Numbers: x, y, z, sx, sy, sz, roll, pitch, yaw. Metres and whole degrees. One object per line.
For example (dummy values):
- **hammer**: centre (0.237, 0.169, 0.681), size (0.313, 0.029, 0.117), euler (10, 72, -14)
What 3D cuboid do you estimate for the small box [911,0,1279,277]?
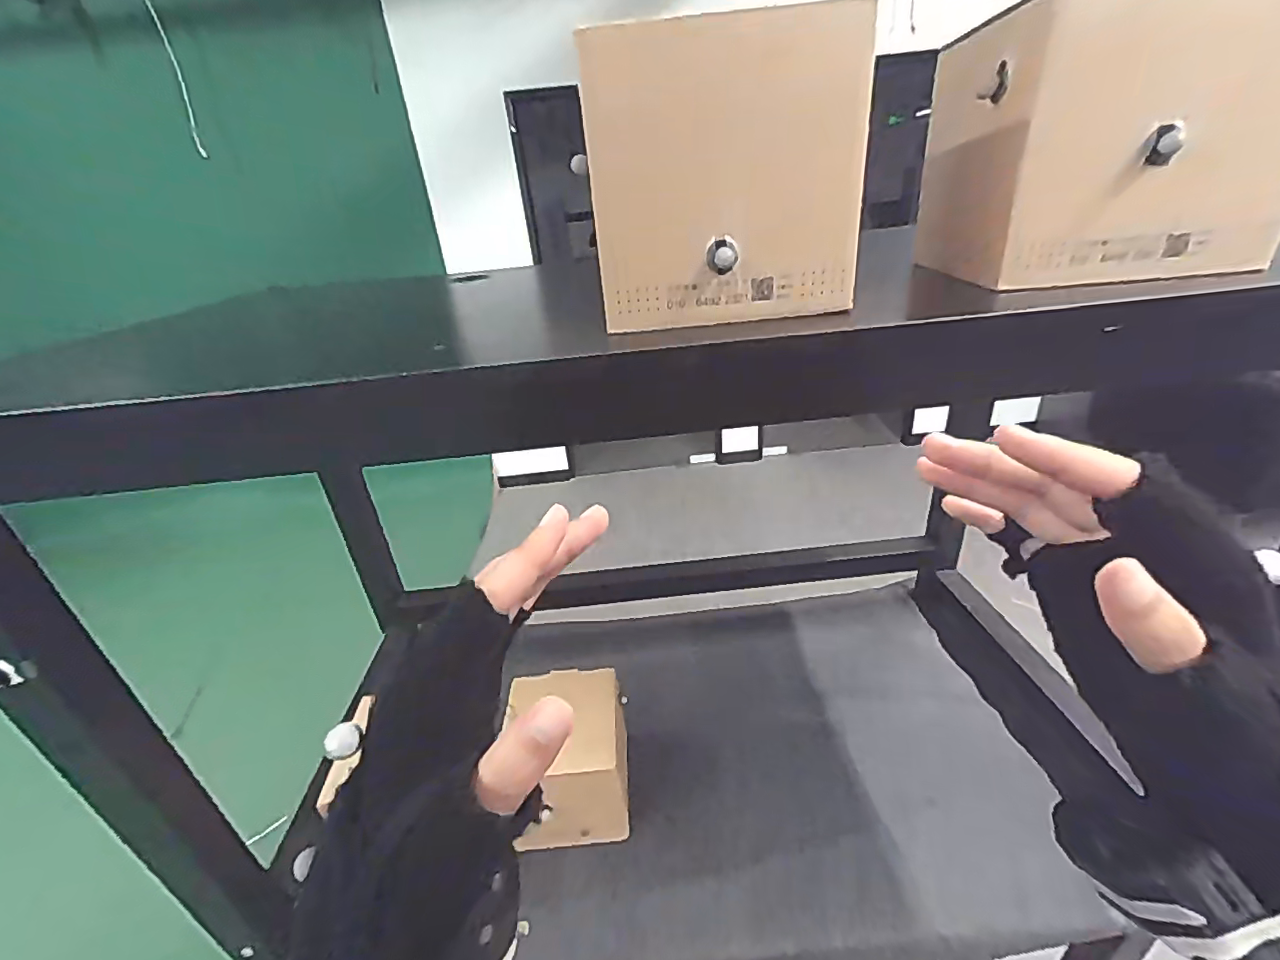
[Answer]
- **small box**: centre (0.321, -0.249, 0.401), size (0.168, 0.176, 0.179), euler (-2, 27, 8)

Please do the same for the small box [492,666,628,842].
- **small box**: centre (-0.109, 0.413, 0.812), size (0.168, 0.176, 0.179), euler (-6, 26, 0)
